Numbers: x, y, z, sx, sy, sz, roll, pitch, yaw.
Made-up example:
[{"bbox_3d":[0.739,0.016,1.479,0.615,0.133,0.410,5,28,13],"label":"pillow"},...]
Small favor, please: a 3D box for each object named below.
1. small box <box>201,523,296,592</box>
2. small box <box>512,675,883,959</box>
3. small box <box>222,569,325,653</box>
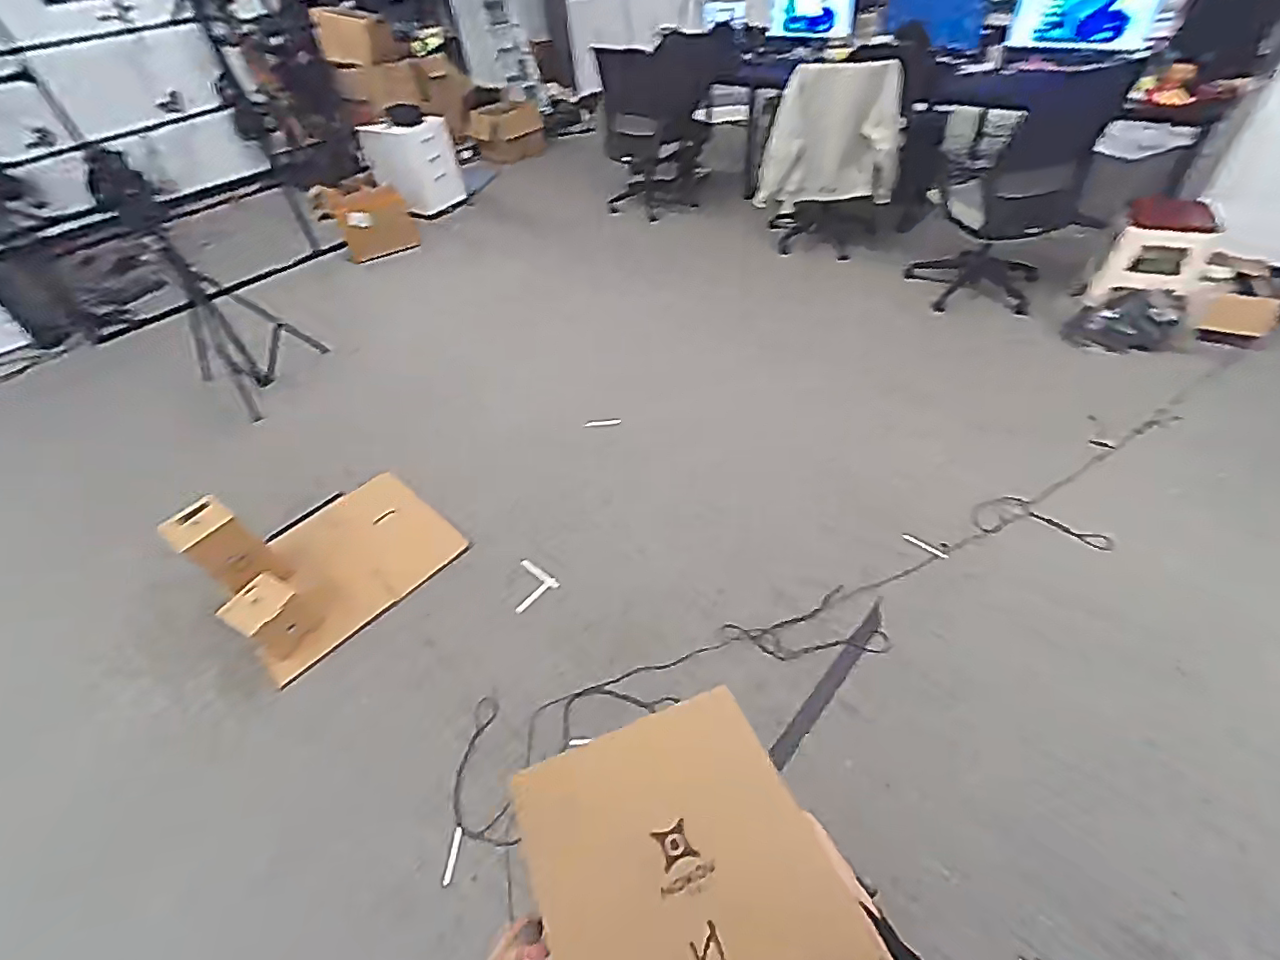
[{"bbox_3d":[-1.329,0.283,1.844,0.179,0.176,0.168,23,54,26],"label":"small box"},{"bbox_3d":[0.020,0.276,0.371,0.168,0.176,0.179,-15,45,-18],"label":"small box"},{"bbox_3d":[-1.135,0.416,1.690,0.179,0.176,0.168,20,52,23],"label":"small box"}]
